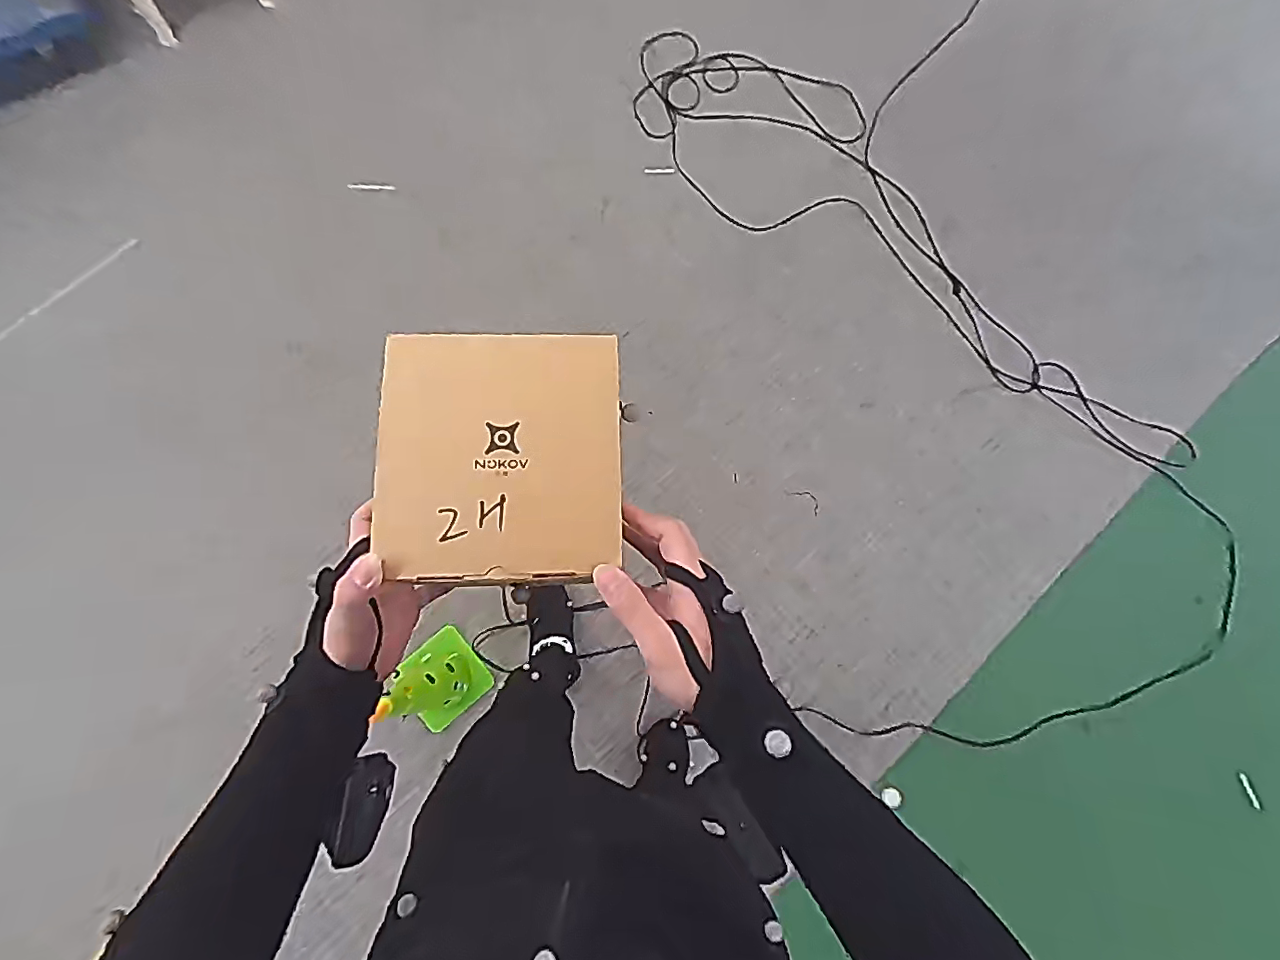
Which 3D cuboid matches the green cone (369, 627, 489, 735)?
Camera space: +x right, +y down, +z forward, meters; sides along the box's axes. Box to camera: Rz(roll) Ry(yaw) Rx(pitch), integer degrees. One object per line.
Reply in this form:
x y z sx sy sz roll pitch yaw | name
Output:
-0.501 0.469 1.192 0.202 0.368 0.200 -41 83 -10 | green cone
